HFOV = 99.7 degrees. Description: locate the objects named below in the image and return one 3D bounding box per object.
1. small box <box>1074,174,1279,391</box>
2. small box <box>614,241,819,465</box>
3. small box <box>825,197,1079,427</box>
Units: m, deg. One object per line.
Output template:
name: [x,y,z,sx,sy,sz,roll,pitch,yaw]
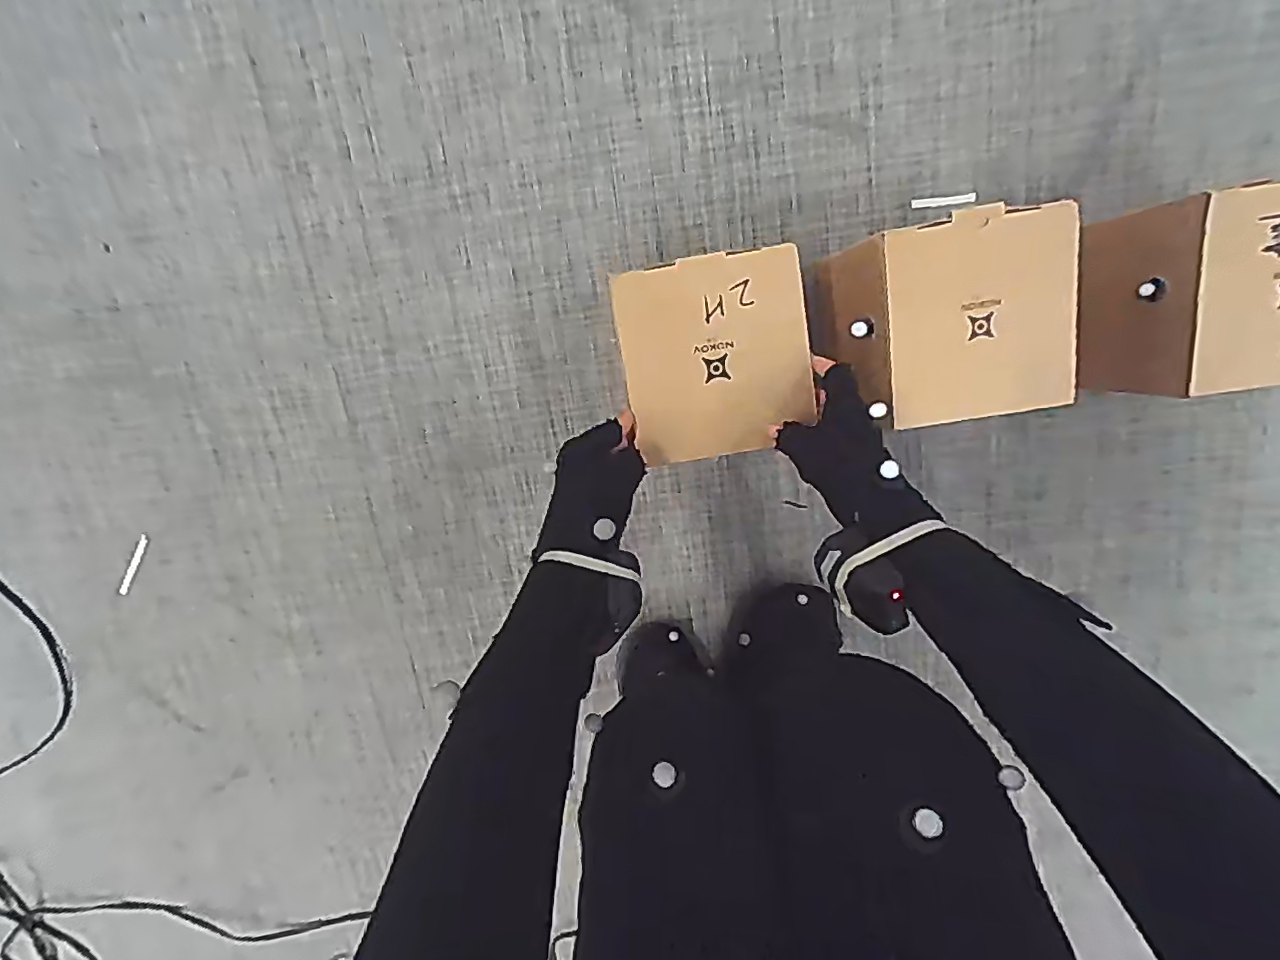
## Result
small box: [0.563,-0.192,0.546,0.168,0.176,0.179,-9,104,2]
small box: [0.072,-0.122,0.558,0.168,0.176,0.179,-9,98,2]
small box: [0.302,-0.162,0.555,0.168,0.176,0.179,-9,102,2]
